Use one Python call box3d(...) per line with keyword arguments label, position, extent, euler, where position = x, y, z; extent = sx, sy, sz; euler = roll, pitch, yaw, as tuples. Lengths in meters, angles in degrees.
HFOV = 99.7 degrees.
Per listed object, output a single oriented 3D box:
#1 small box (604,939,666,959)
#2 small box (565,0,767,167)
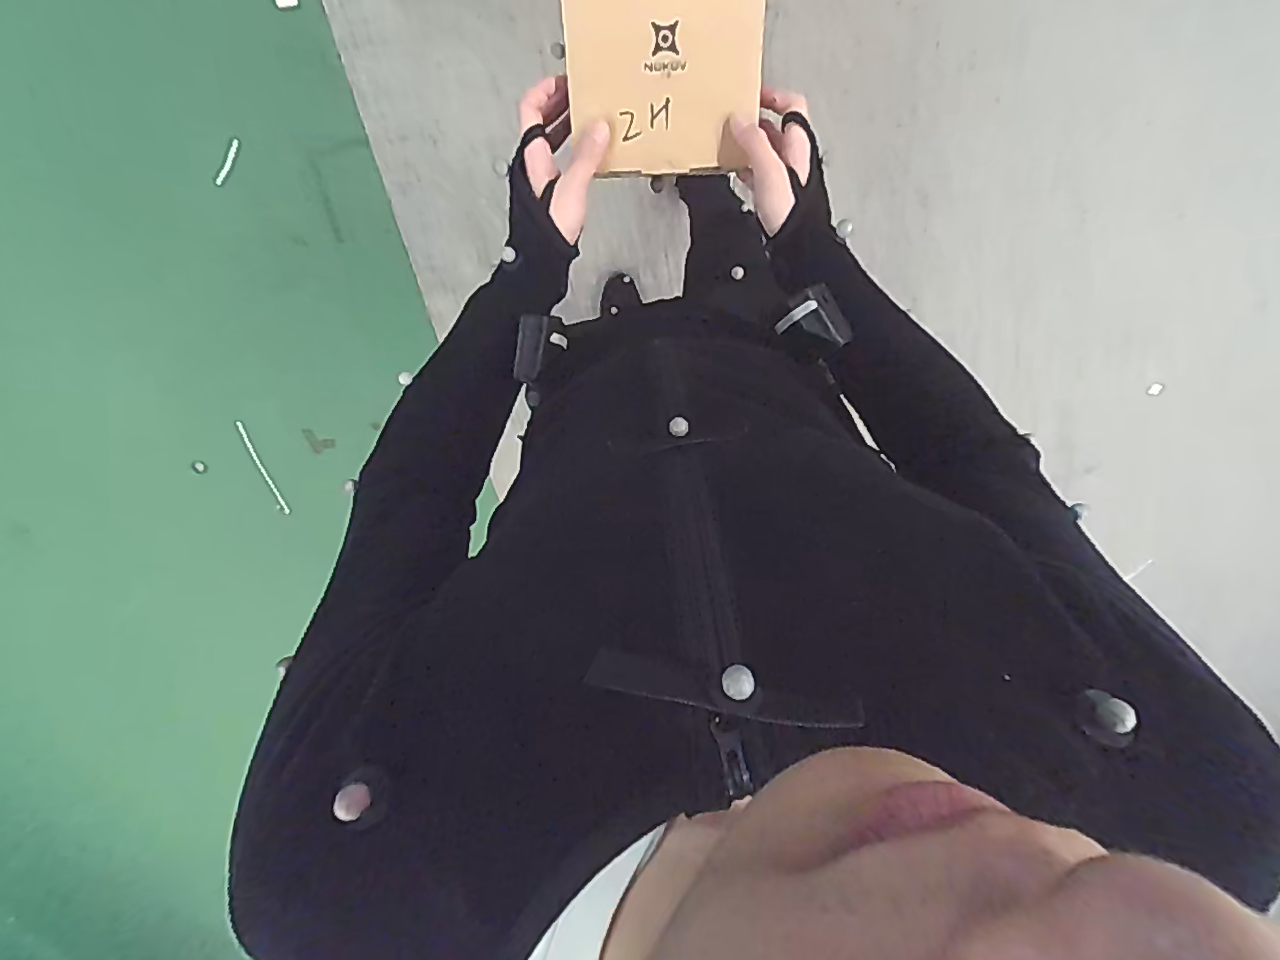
box3d(label="small box", position=(-0.006, 1.483, 1.573), extent=(0.168, 0.176, 0.179), euler=(-13, 118, 3))
box3d(label="small box", position=(0.018, -0.401, 0.509), extent=(0.168, 0.176, 0.179), euler=(-2, 119, 0))
